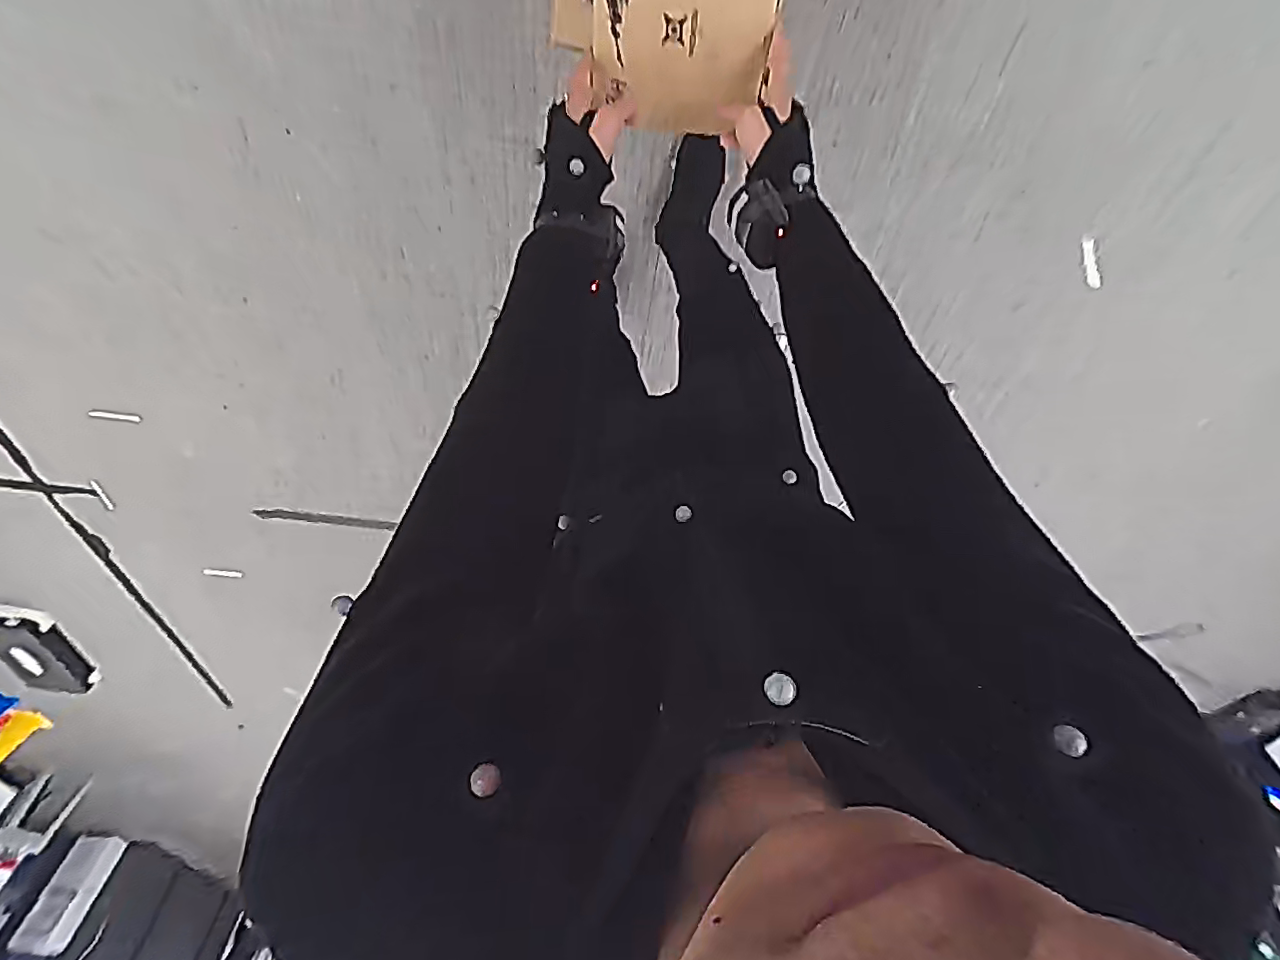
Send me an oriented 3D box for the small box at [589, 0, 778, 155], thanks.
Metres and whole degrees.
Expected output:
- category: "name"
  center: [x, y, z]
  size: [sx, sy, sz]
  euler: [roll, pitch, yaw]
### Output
- category: "small box"
  center: [0.038, -0.478, 0.589]
  size: [0.179, 0.176, 0.168]
  euler: [4, 136, -3]
